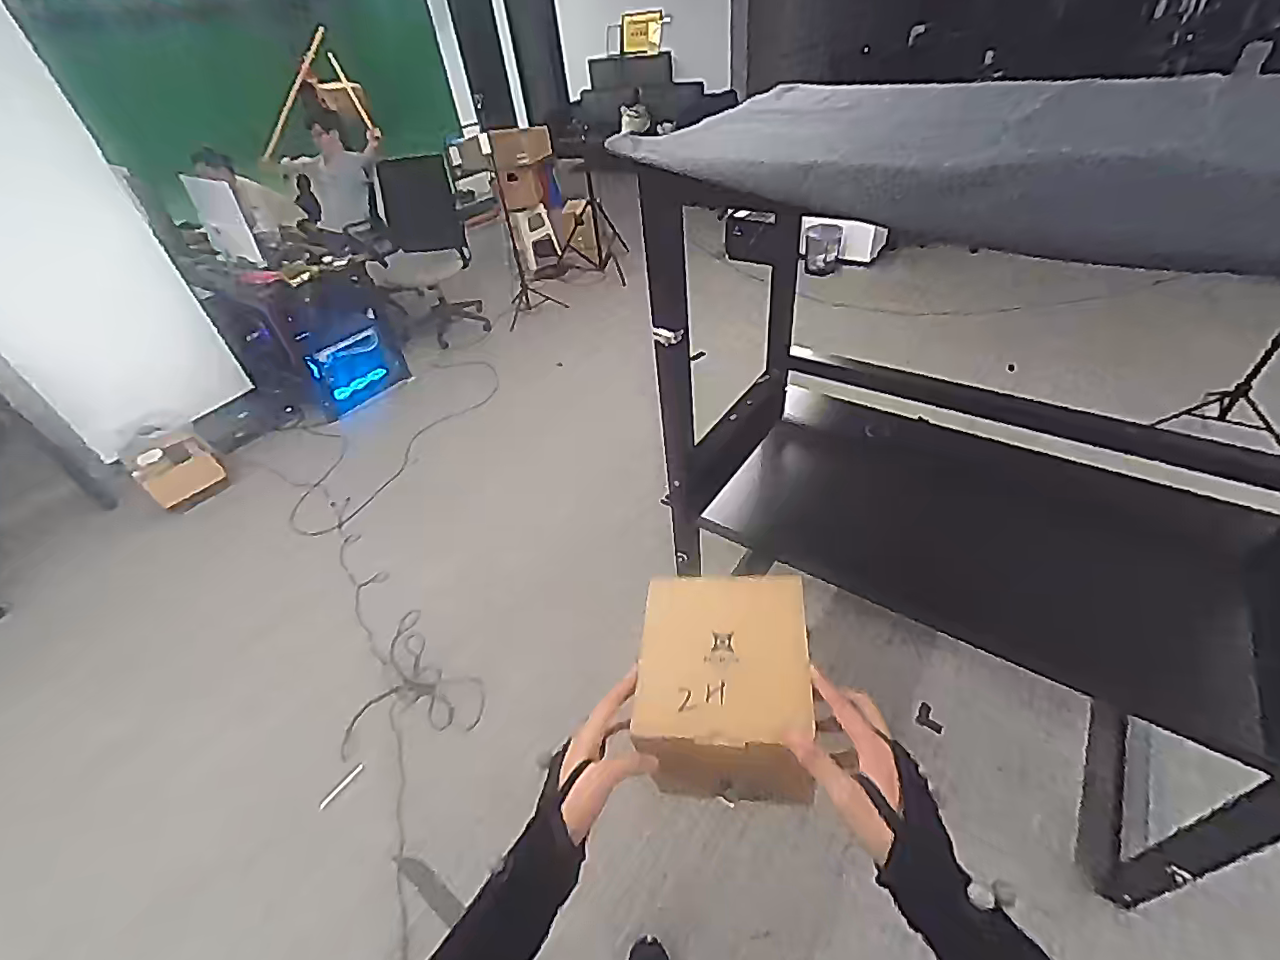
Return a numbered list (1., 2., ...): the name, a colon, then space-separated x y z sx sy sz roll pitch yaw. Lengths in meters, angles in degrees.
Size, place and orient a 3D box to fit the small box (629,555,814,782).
1. small box: 0.096 0.201 0.587 0.168 0.176 0.179 -2 46 14
